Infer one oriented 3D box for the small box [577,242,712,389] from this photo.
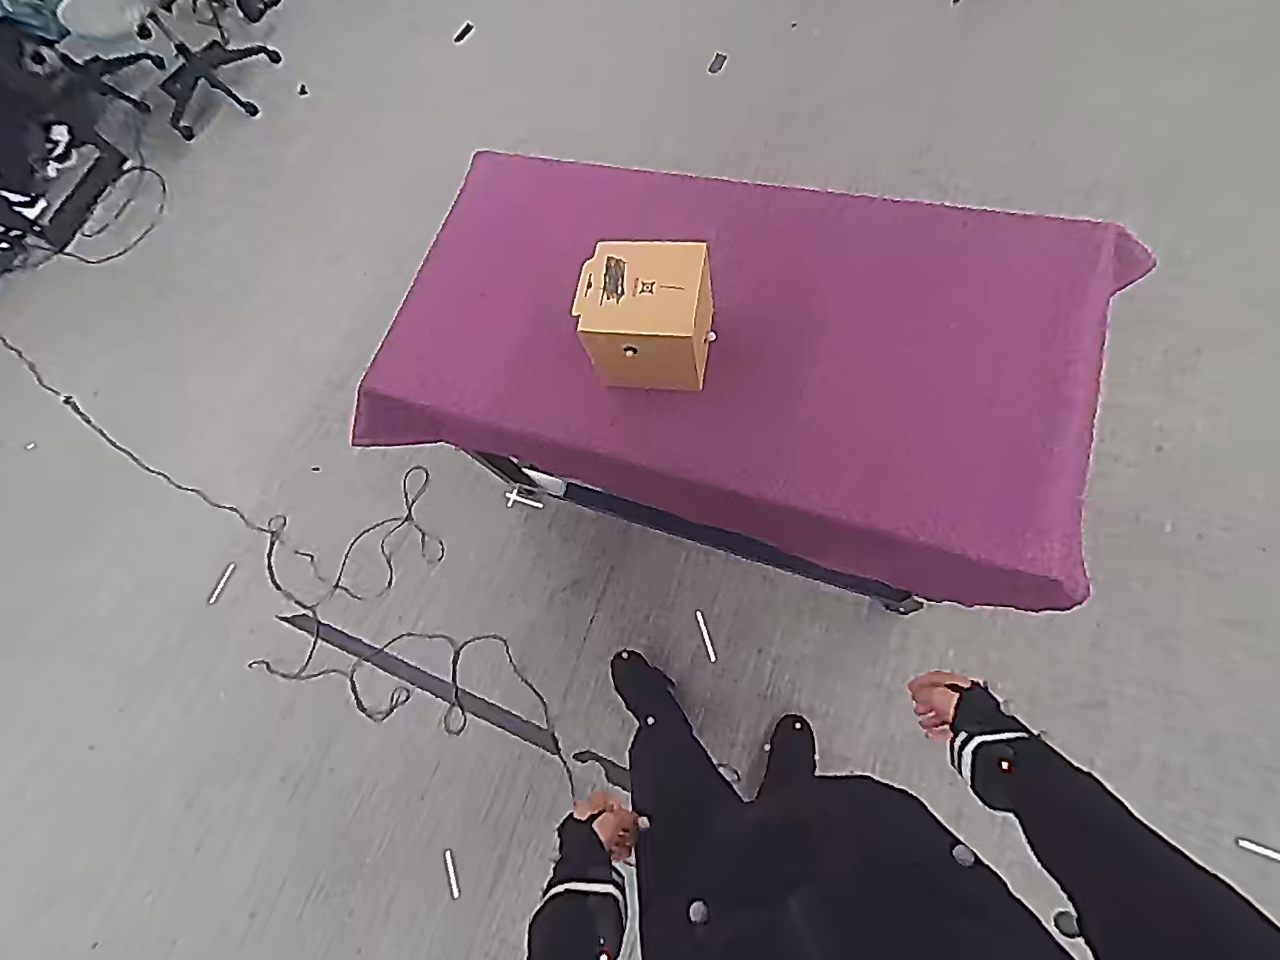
[{"bbox_3d":[0.017,-0.260,0.881,0.179,0.176,0.168,6,73,12],"label":"small box"}]
